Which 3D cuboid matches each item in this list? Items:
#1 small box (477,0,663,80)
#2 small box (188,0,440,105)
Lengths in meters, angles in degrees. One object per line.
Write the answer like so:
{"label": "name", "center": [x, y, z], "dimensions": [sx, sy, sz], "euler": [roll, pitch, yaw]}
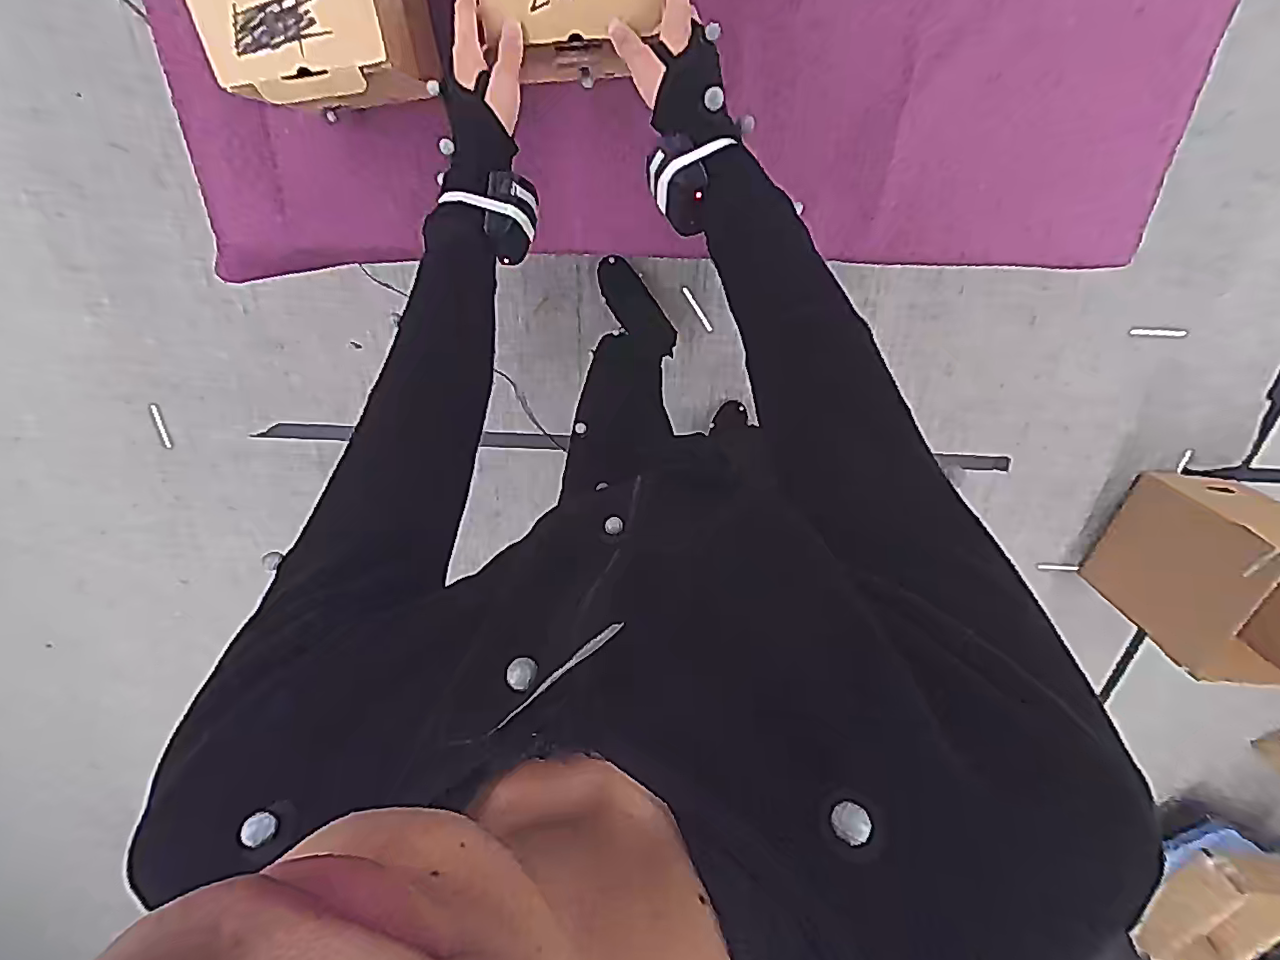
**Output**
{"label": "small box", "center": [-0.065, -0.512, 0.519], "dimensions": [0.168, 0.176, 0.179], "euler": [-2, 118, 2]}
{"label": "small box", "center": [-0.320, -0.489, 0.532], "dimensions": [0.168, 0.176, 0.179], "euler": [-7, 116, 3]}
